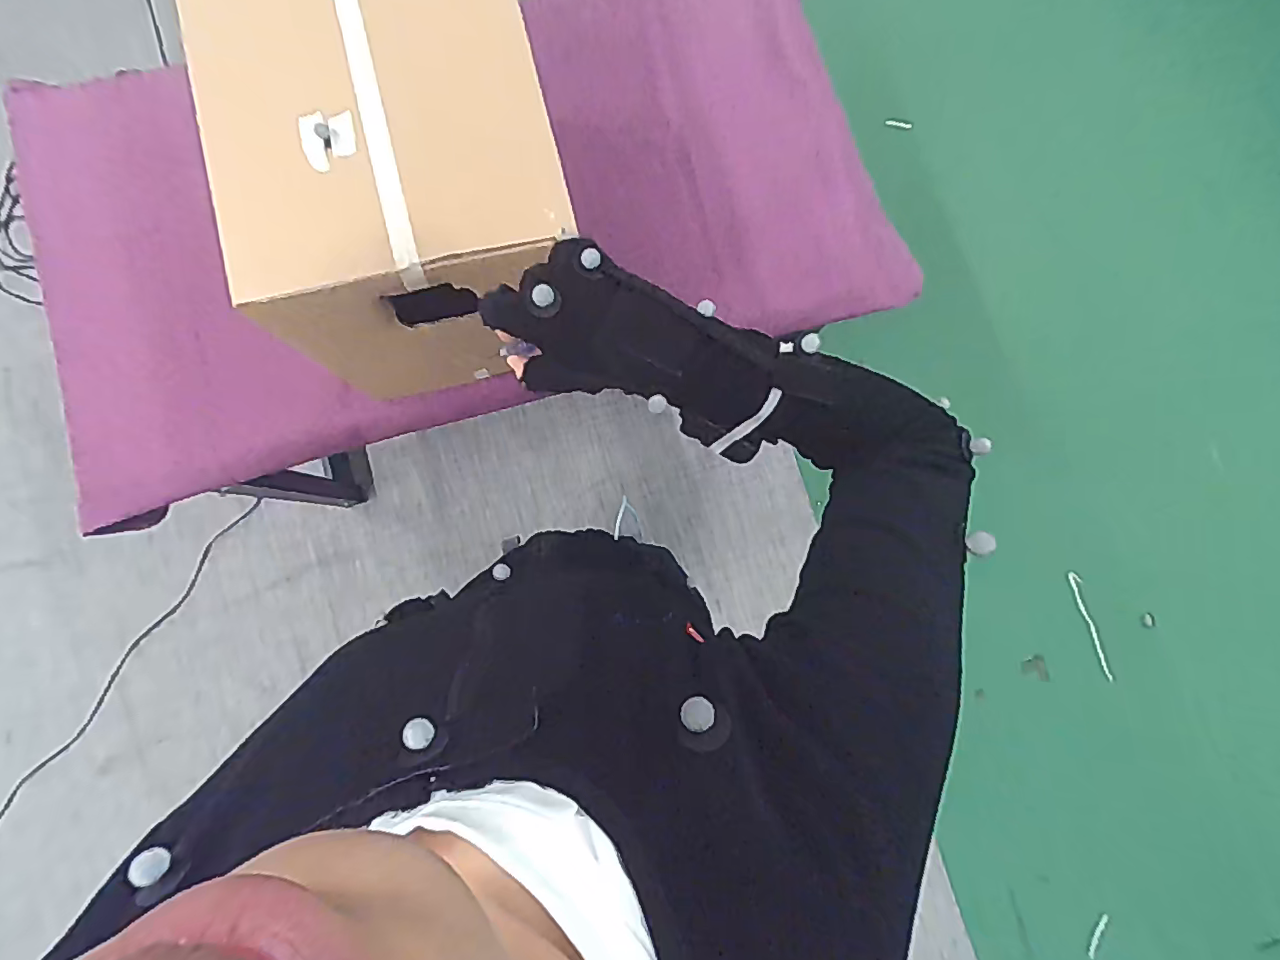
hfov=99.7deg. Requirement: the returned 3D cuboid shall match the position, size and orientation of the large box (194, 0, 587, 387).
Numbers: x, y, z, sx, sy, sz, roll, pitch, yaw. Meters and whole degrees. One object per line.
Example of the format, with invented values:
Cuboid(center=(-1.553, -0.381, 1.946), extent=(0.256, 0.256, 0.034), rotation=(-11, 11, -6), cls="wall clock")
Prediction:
Cuboid(center=(-0.262, -0.373, 0.668), extent=(0.320, 0.320, 0.408), rotation=(-14, 85, -6), cls="large box")
